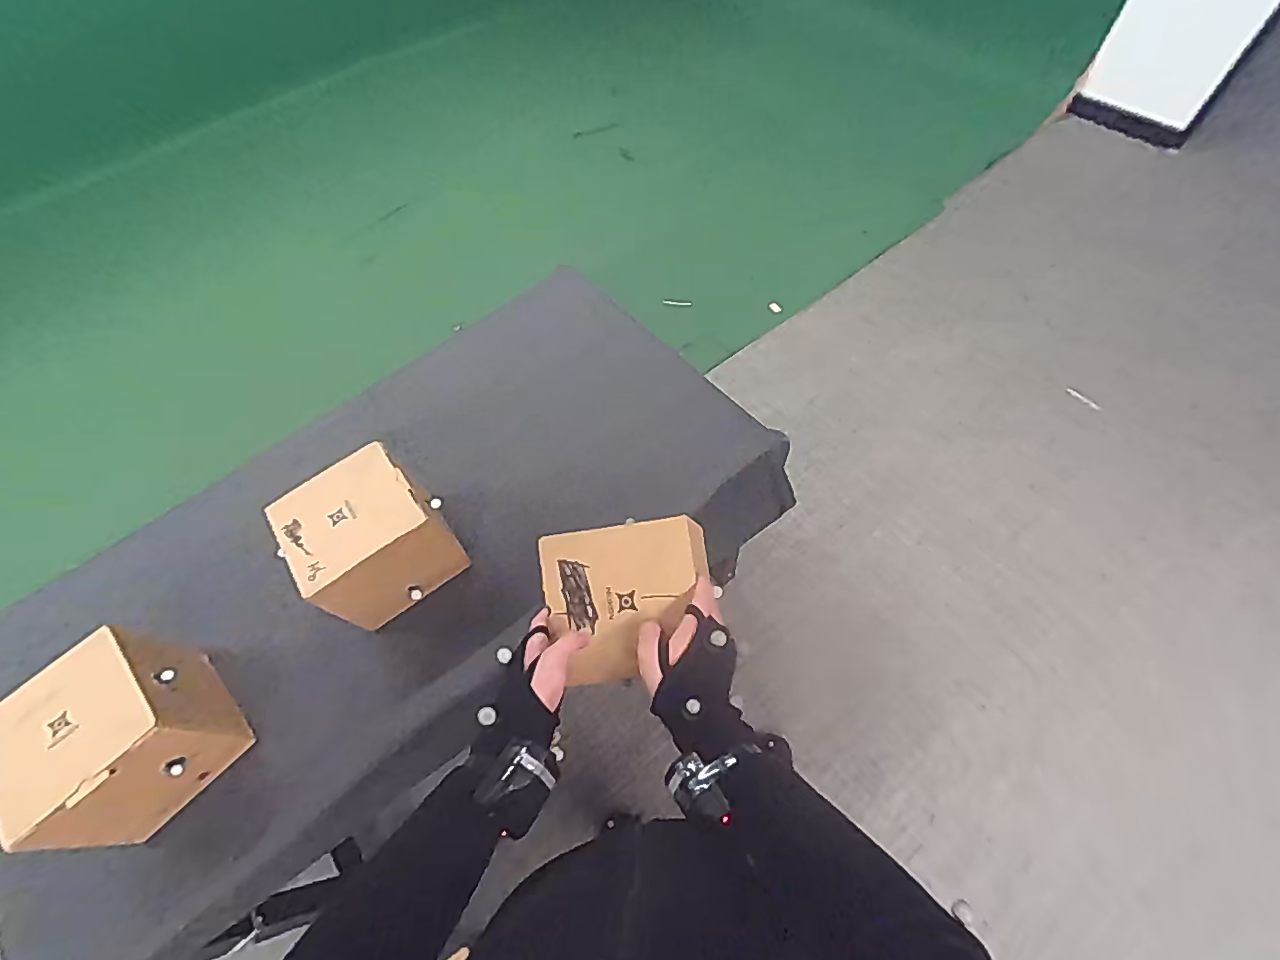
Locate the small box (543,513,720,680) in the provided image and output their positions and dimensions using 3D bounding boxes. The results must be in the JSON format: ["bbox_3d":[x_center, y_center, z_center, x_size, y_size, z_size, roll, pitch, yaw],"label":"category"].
[{"bbox_3d":[-0.003,0.142,0.666,0.179,0.176,0.168,-9,78,9],"label":"small box"}]

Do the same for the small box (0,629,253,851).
[{"bbox_3d":[-0.647,0.325,0.686,0.179,0.176,0.168,36,68,25],"label":"small box"}]

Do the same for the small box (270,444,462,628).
[{"bbox_3d":[-0.385,0.087,0.793,0.179,0.176,0.168,-35,63,-14],"label":"small box"}]
